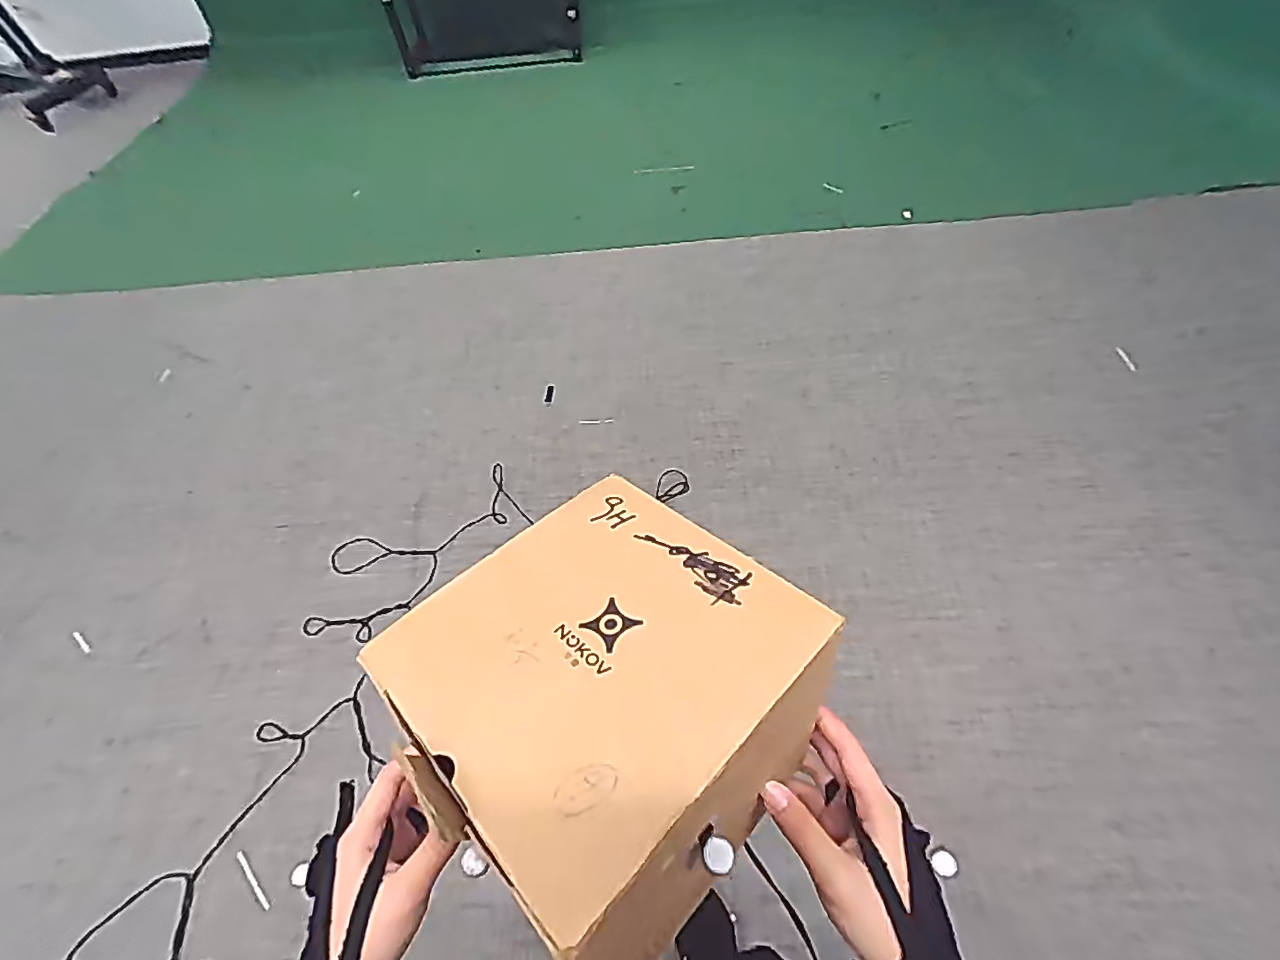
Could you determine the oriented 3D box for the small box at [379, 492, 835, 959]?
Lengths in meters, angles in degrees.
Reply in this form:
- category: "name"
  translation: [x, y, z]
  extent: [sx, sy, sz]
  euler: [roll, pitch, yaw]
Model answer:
- category: "small box"
  translation: [-0.010, 0.146, 0.323]
  extent: [0.168, 0.176, 0.179]
  euler: [31, 54, 34]
